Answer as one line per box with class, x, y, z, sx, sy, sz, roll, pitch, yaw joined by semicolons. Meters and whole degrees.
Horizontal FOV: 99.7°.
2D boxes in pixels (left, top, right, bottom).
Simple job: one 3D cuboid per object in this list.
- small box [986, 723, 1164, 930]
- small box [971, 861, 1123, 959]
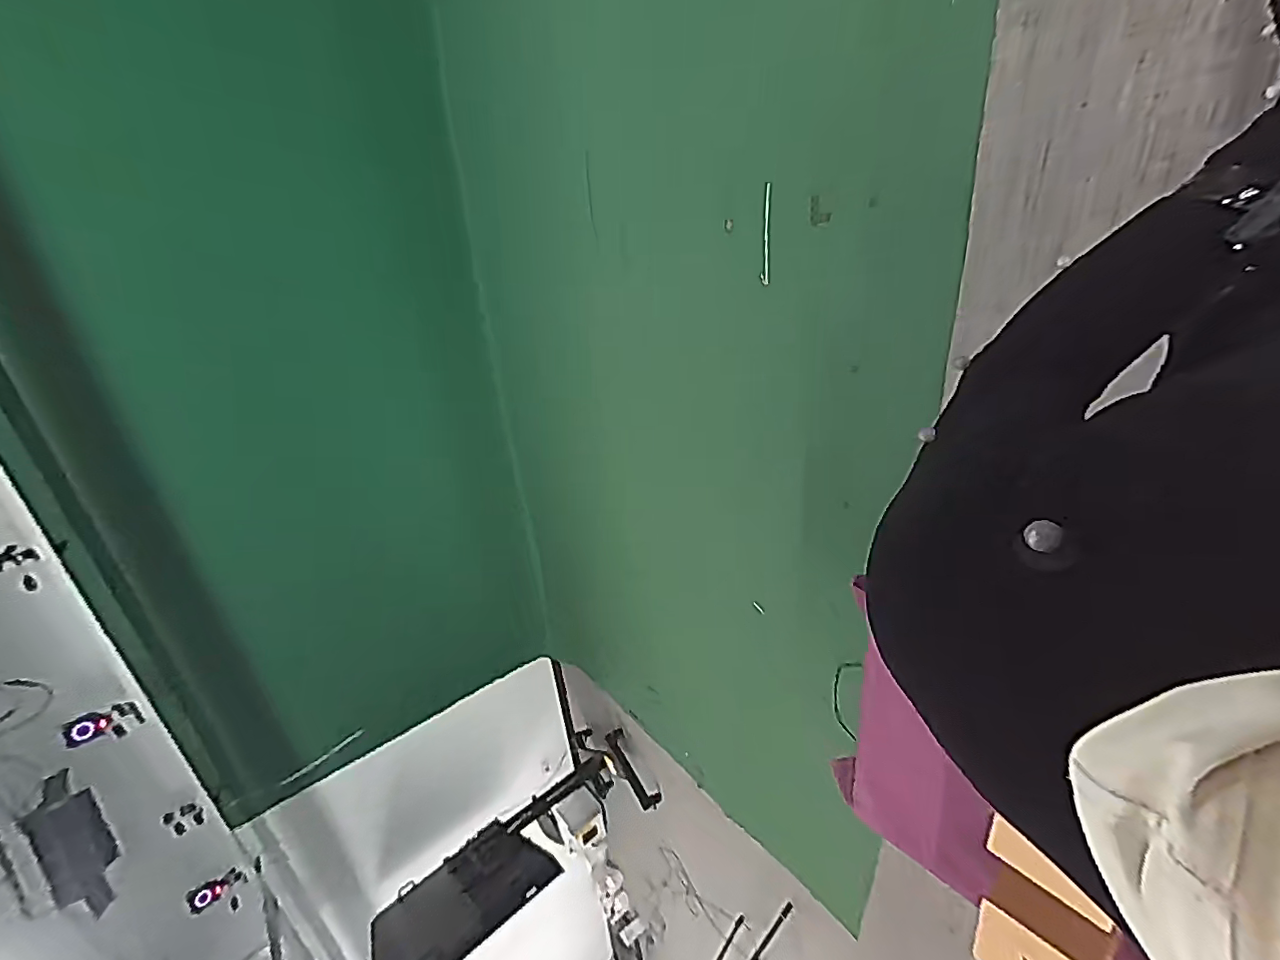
small box;0.682;0.533;0.853;0.168;0.176;0.179;23;127;46
small box;0.719;0.802;0.959;0.168;0.176;0.179;19;122;48
